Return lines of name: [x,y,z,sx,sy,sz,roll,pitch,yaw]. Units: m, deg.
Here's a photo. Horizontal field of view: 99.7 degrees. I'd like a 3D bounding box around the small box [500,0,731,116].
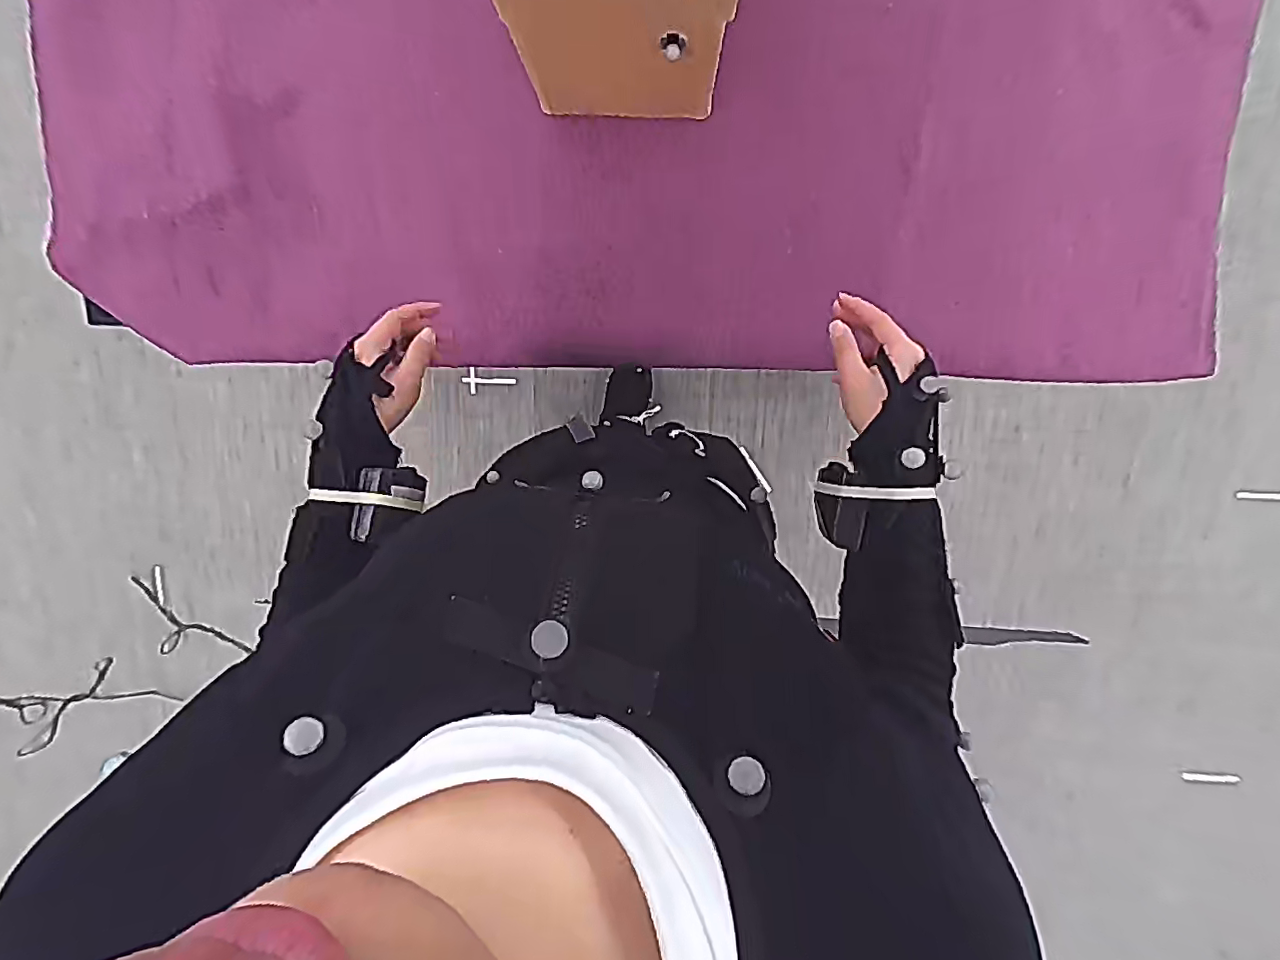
small box: [-0.014,-0.443,0.466,0.179,0.176,0.168,2,101,0]
